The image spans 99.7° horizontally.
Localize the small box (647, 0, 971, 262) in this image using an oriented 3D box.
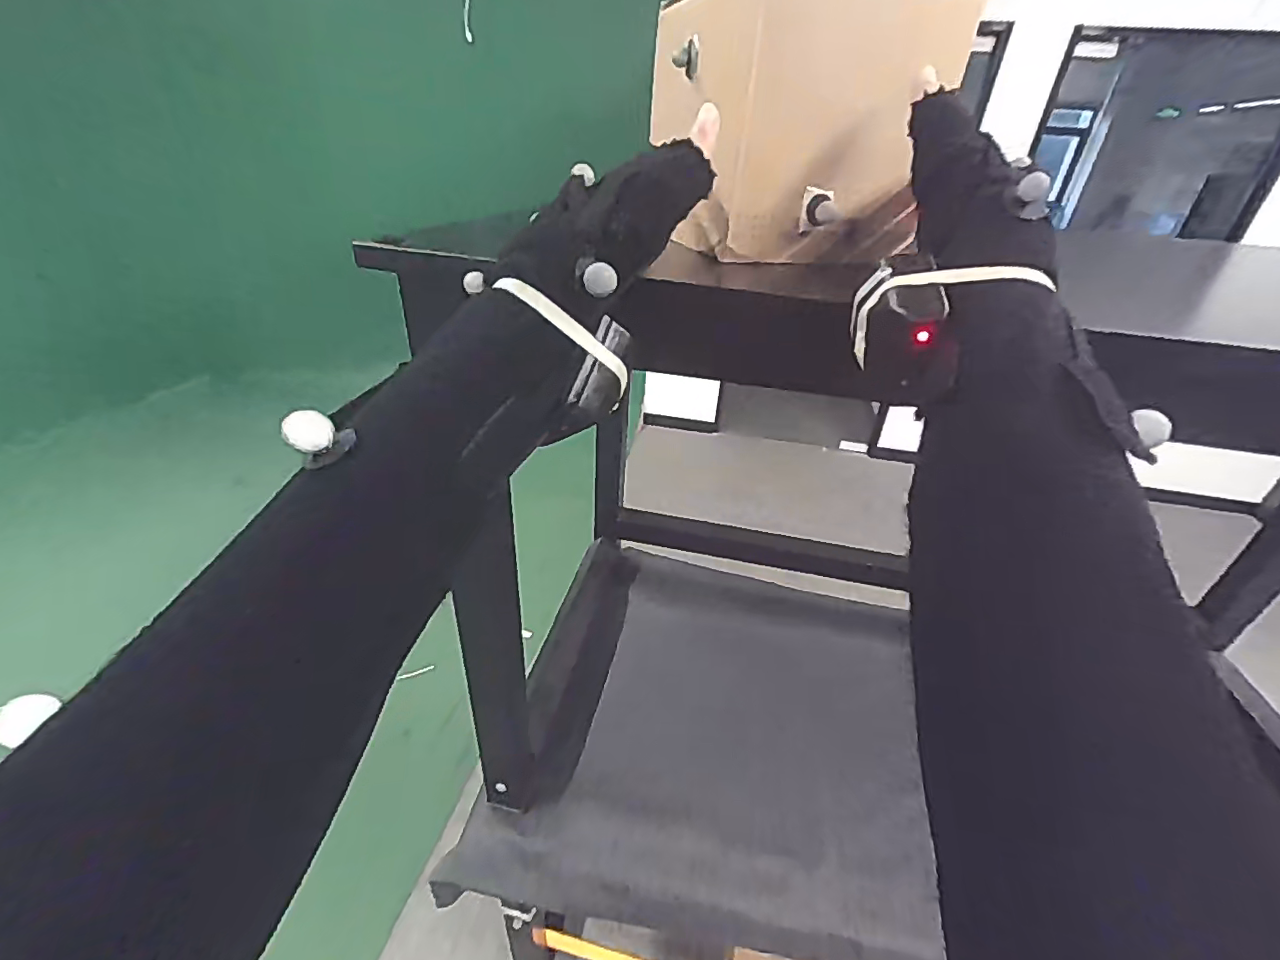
[{"bbox_3d":[0.109,-0.283,0.437,0.168,0.176,0.179,-8,35,-16],"label":"small box"}]
